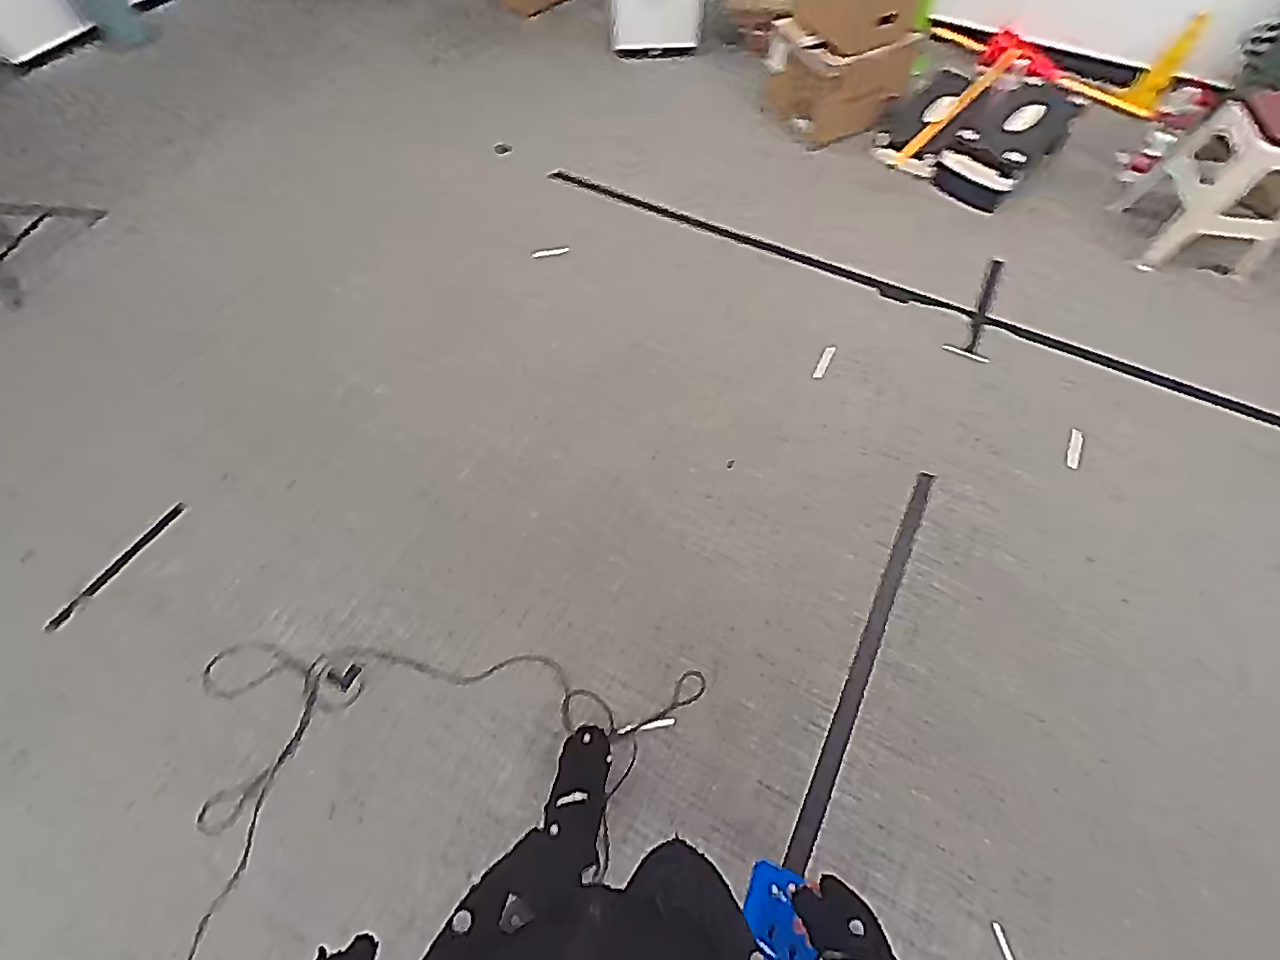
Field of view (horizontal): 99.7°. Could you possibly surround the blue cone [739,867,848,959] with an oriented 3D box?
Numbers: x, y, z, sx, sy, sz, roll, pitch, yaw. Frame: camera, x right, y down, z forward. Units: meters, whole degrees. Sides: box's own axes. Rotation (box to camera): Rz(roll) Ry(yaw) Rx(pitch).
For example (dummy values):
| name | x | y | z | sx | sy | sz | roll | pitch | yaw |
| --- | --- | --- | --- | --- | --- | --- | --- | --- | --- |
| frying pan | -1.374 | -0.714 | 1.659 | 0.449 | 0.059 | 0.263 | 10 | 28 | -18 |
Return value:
| name | x | y | z | sx | sy | sz | roll | pitch | yaw |
| --- | --- | --- | --- | --- | --- | --- | --- | --- | --- |
| blue cone | 0.313 | 0.856 | 0.966 | 0.192 | 0.380 | 0.193 | 23 | 64 | 9 |
